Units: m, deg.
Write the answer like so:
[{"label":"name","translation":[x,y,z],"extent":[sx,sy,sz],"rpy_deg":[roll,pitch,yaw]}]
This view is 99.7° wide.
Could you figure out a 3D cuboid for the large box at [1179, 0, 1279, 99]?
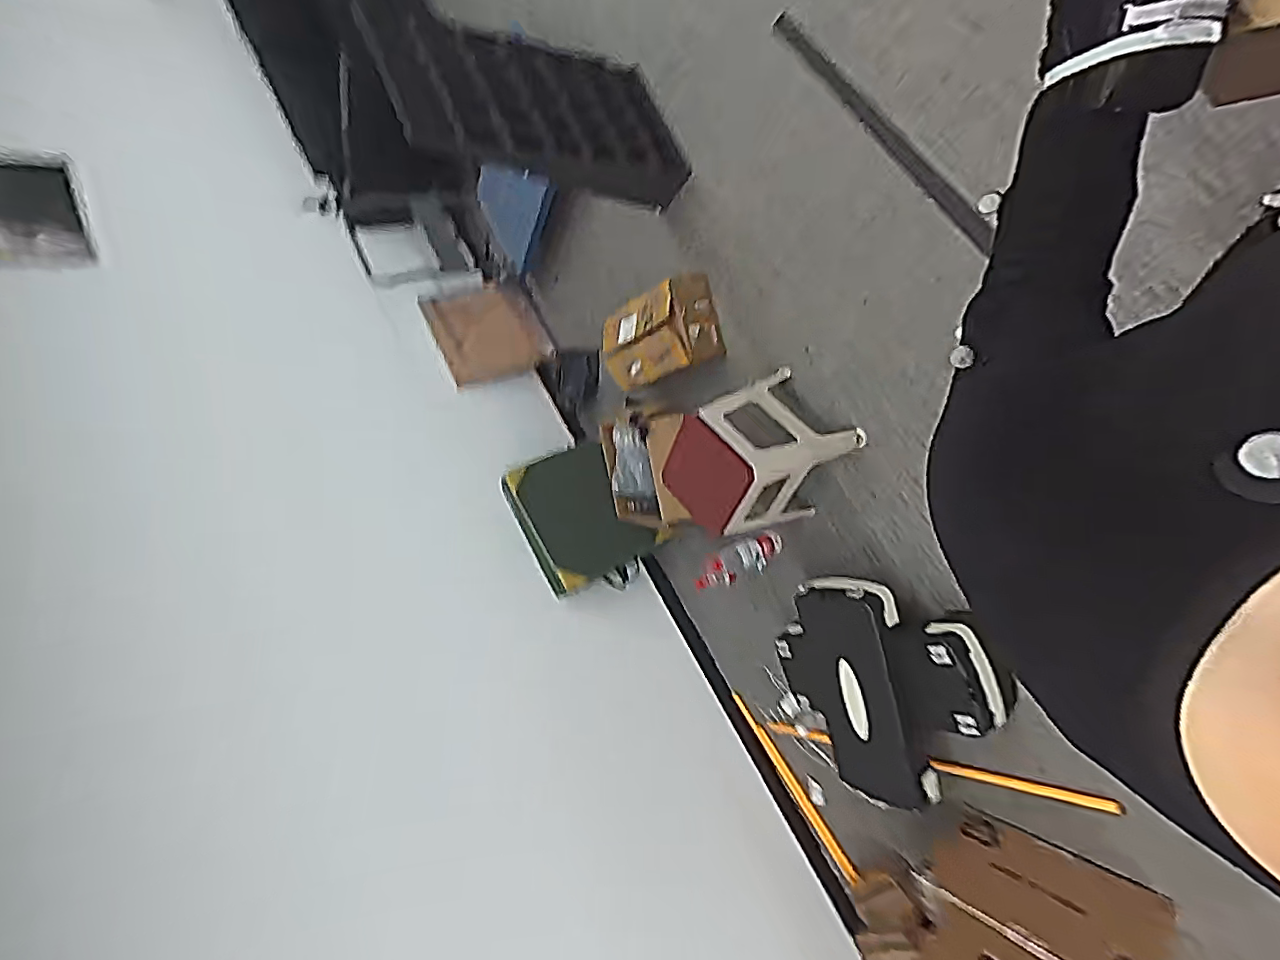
[{"label":"large box","translation":[0.563,-0.428,0.242],"extent":[0.408,0.320,0.320],"rpy_deg":[16,120,45]}]
